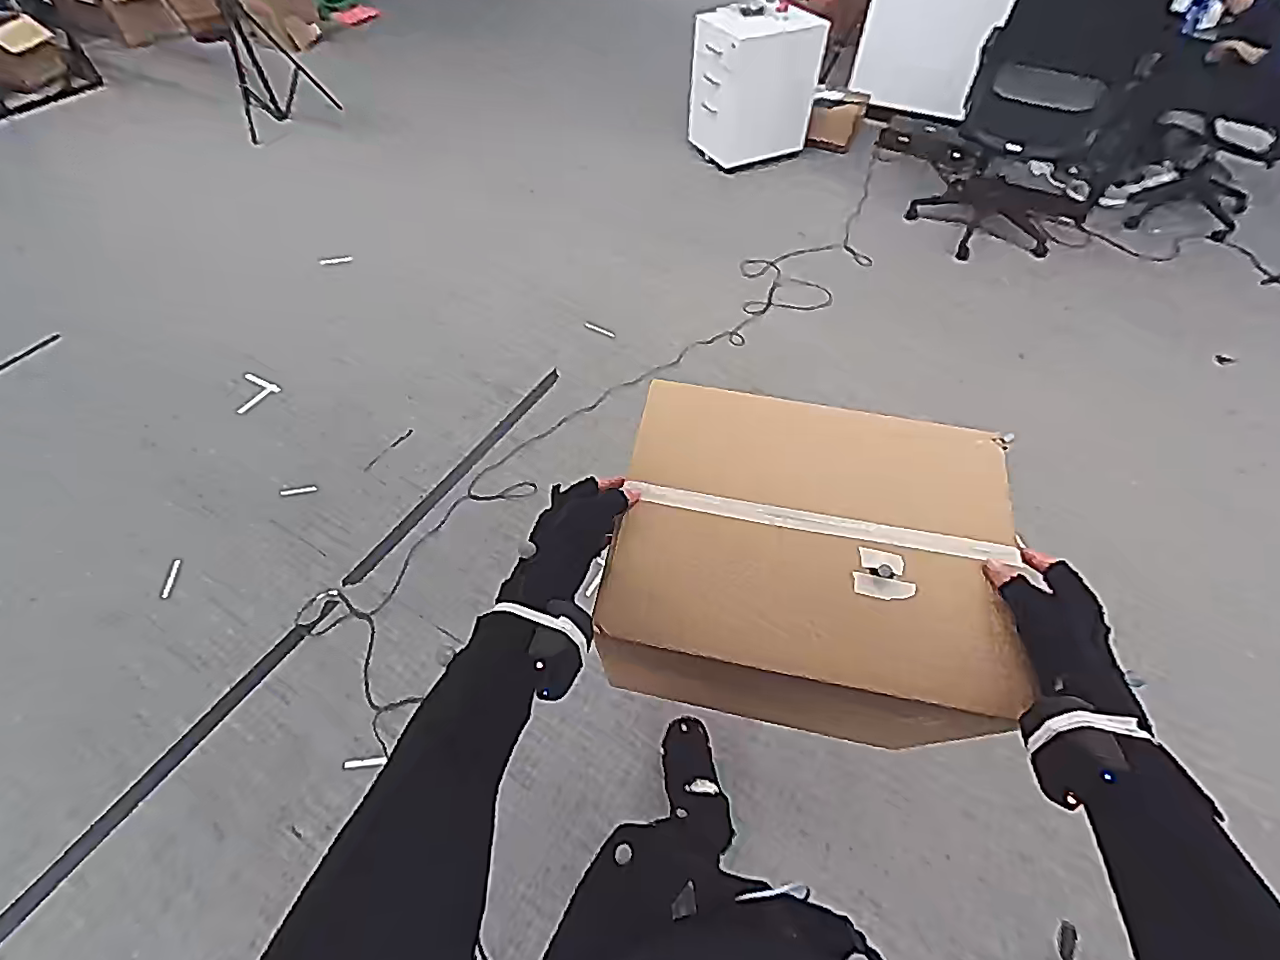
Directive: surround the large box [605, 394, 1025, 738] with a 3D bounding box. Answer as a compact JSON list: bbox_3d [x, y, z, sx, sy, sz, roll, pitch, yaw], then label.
[{"bbox_3d":[0.184,0.126,0.710,0.408,0.320,0.320,10,62,6],"label":"large box"}]
